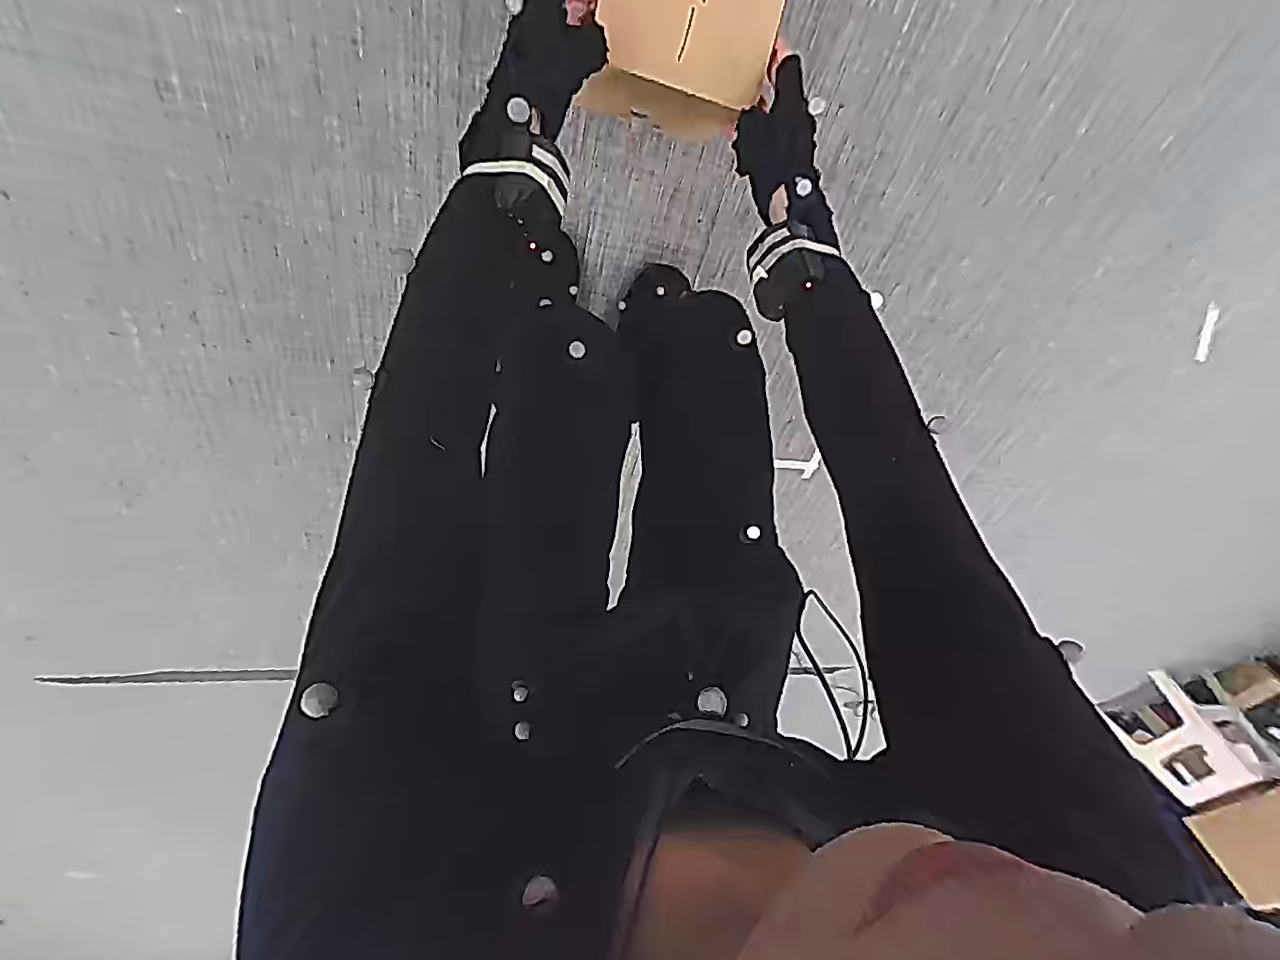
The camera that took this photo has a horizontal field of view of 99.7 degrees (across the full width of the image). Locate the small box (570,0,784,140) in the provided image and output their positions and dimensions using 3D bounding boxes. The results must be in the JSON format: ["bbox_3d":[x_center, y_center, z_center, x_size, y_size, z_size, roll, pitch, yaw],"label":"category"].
[{"bbox_3d":[0.031,-0.466,0.532,0.168,0.176,0.179,7,112,-17],"label":"small box"}]
